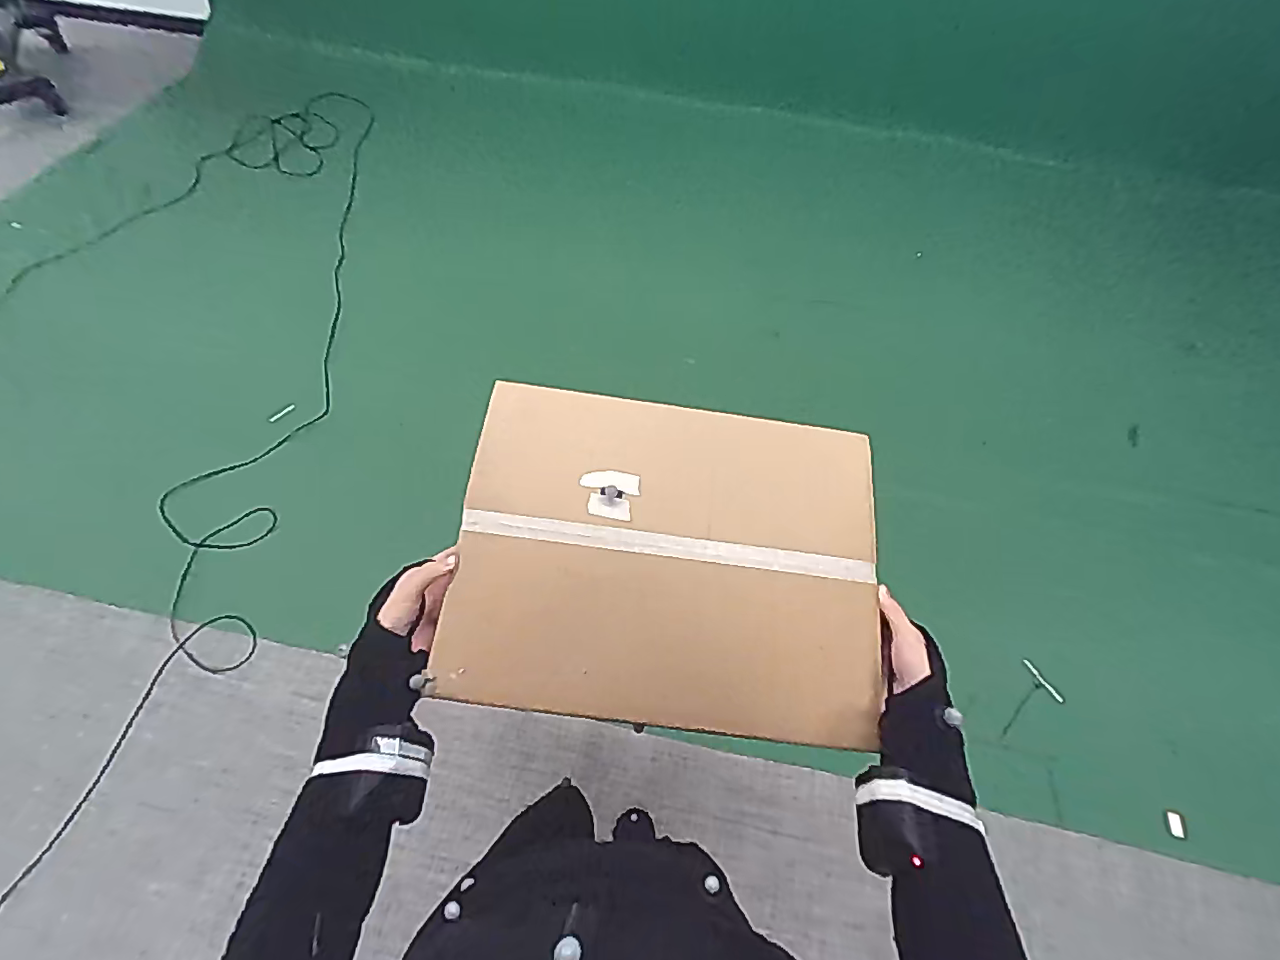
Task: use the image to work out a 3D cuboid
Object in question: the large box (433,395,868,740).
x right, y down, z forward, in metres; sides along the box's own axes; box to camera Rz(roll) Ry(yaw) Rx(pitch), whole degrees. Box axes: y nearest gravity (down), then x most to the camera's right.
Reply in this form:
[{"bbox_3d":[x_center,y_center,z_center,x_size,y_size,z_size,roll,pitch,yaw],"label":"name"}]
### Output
[{"bbox_3d":[0.019,0.122,0.677,0.408,0.320,0.320,8,68,-1],"label":"large box"}]
